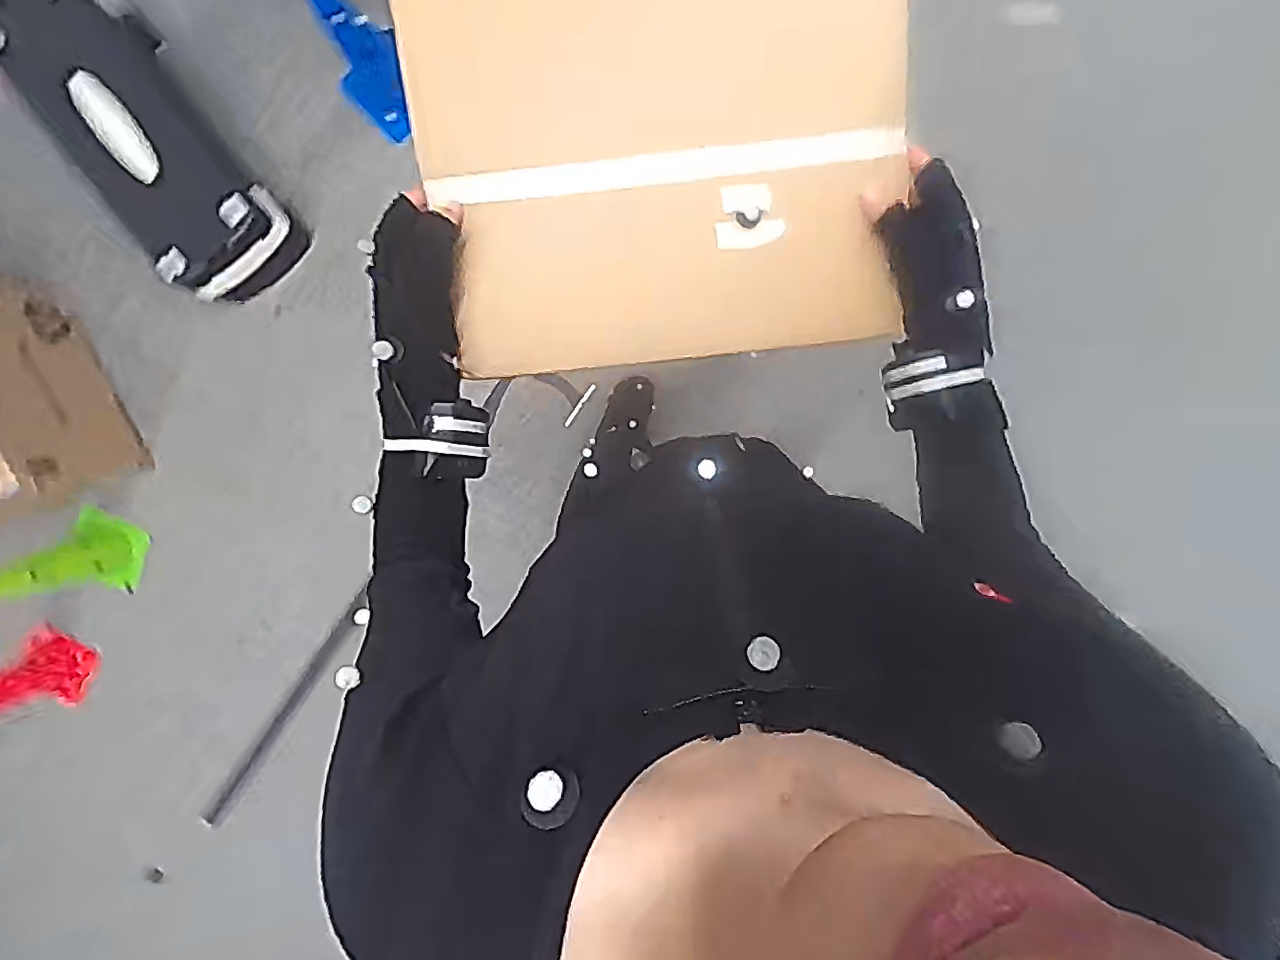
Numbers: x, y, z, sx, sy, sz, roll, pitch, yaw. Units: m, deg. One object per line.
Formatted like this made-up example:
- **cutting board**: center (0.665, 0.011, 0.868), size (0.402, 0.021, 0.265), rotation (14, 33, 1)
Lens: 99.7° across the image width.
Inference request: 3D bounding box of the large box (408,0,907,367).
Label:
- **large box**: center (0.021, -0.307, 0.602), size (0.408, 0.320, 0.320), rotation (-5, 105, 0)
